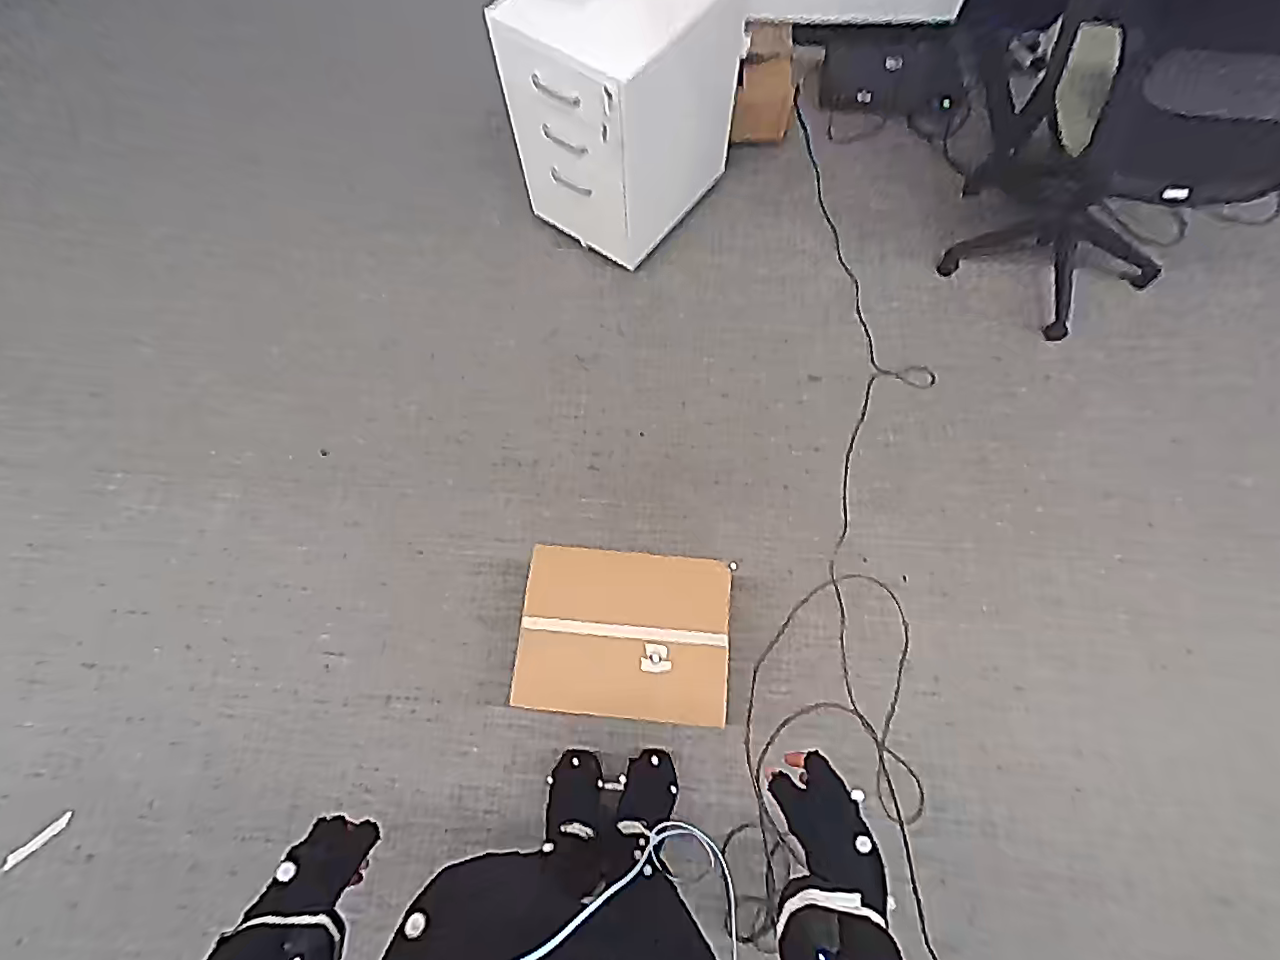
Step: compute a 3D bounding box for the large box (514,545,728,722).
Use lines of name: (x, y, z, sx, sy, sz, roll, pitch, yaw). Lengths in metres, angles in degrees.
large box: (-0.031, 0.344, 1.199, 0.408, 0.320, 0.320, 5, 71, 2)
